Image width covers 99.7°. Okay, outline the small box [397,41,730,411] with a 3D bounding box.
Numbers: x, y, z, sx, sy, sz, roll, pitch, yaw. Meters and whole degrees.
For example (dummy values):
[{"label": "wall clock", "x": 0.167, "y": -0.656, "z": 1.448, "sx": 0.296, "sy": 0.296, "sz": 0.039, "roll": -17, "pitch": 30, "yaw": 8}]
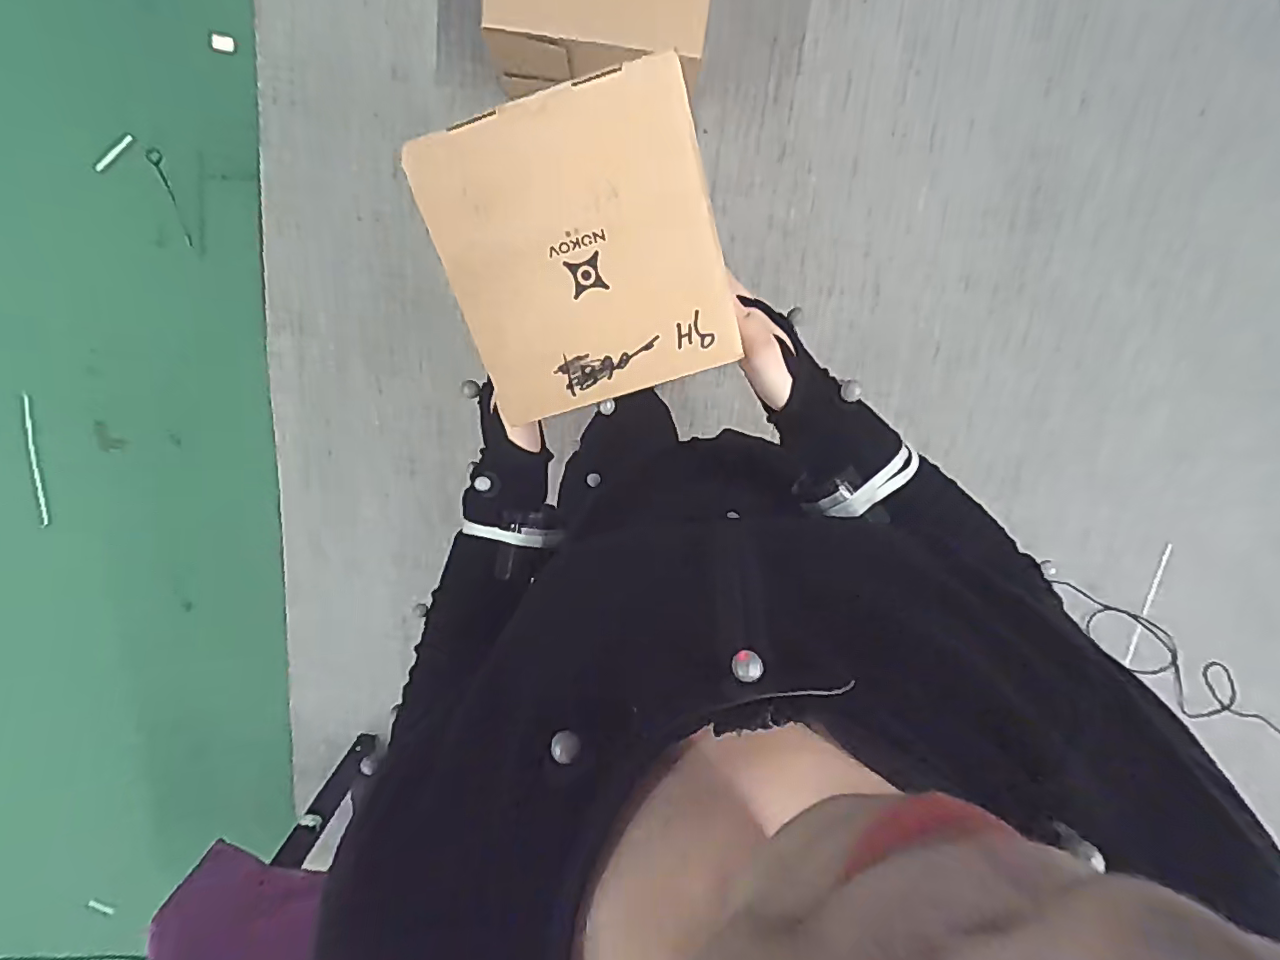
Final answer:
[{"label": "small box", "x": -0.042, "y": -0.171, "z": 0.405, "sx": 0.168, "sy": 0.176, "sz": 0.179, "roll": -15, "pitch": 111, "yaw": 6}]
